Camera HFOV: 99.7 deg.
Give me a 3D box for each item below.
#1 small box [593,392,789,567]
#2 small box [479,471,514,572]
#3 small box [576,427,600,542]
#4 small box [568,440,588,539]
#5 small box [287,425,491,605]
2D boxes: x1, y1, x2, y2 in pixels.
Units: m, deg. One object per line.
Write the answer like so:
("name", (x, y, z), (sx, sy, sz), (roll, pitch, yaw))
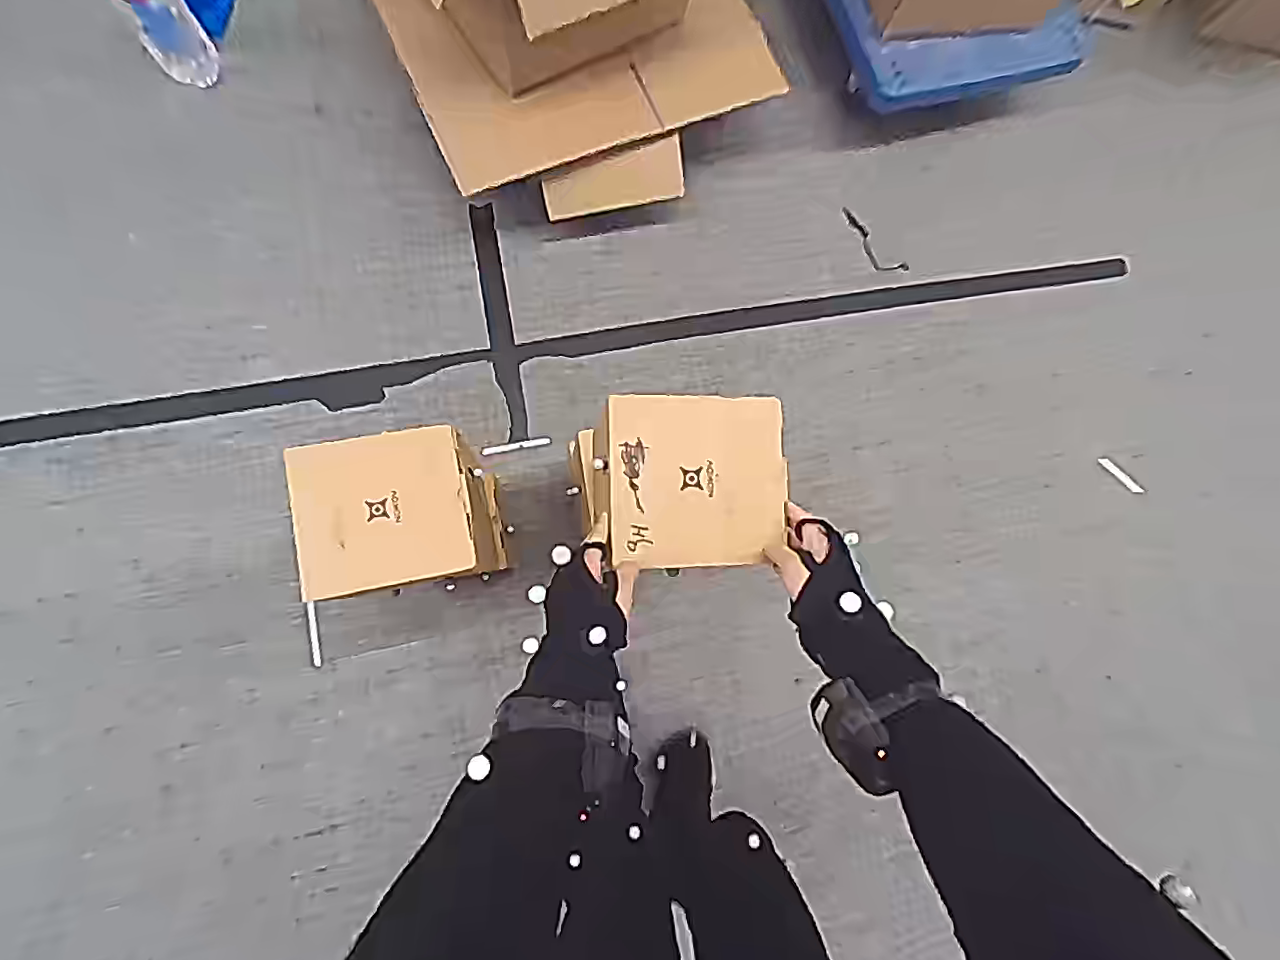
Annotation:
("small box", (0.045, 0.006, 0.595), (0.179, 0.176, 0.168), (0, 84, -11))
("small box", (-0.330, 0.088, 0.967), (0.179, 0.176, 0.168), (-9, 83, -11))
("small box", (-0.006, 0.007, 0.861), (0.179, 0.176, 0.168), (-8, 84, -11))
("small box", (-0.040, 0.014, 1.023), (0.168, 0.176, 0.179), (-10, 83, -11))
("small box", (-0.280, 0.045, 0.646), (0.179, 0.176, 0.168), (-11, 82, -10))
